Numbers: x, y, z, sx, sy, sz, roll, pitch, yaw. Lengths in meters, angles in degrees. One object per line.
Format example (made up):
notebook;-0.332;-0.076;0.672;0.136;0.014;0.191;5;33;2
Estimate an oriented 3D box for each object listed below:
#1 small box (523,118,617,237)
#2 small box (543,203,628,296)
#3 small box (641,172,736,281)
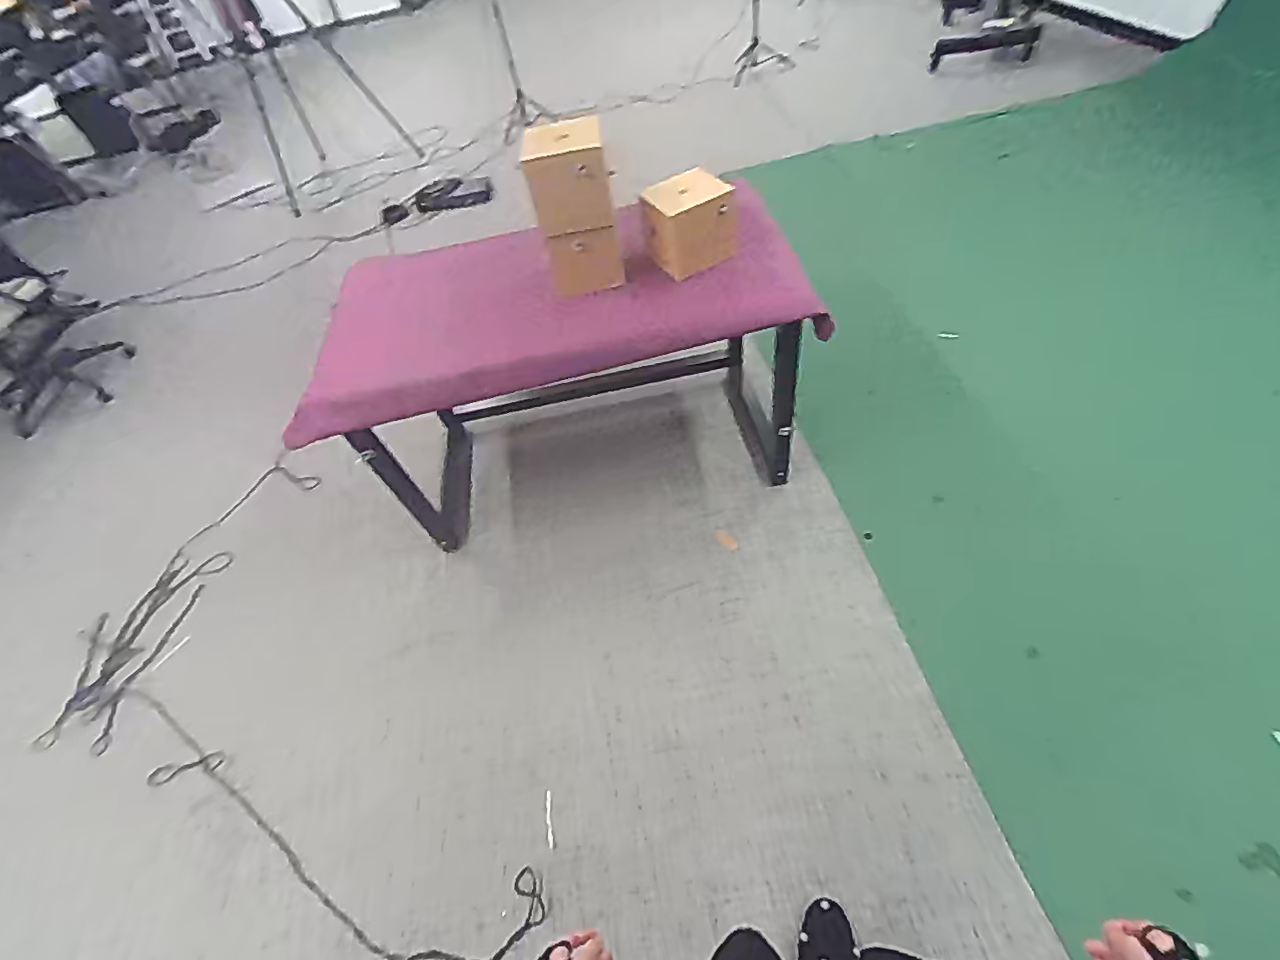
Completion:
small box;-0.148;-0.674;1.212;0.179;0.176;0.168;-8;52;4
small box;-0.131;-0.580;1.346;0.179;0.176;0.168;-8;52;3
small box;0.125;-0.621;1.333;0.179;0.176;0.168;-27;52;-11
